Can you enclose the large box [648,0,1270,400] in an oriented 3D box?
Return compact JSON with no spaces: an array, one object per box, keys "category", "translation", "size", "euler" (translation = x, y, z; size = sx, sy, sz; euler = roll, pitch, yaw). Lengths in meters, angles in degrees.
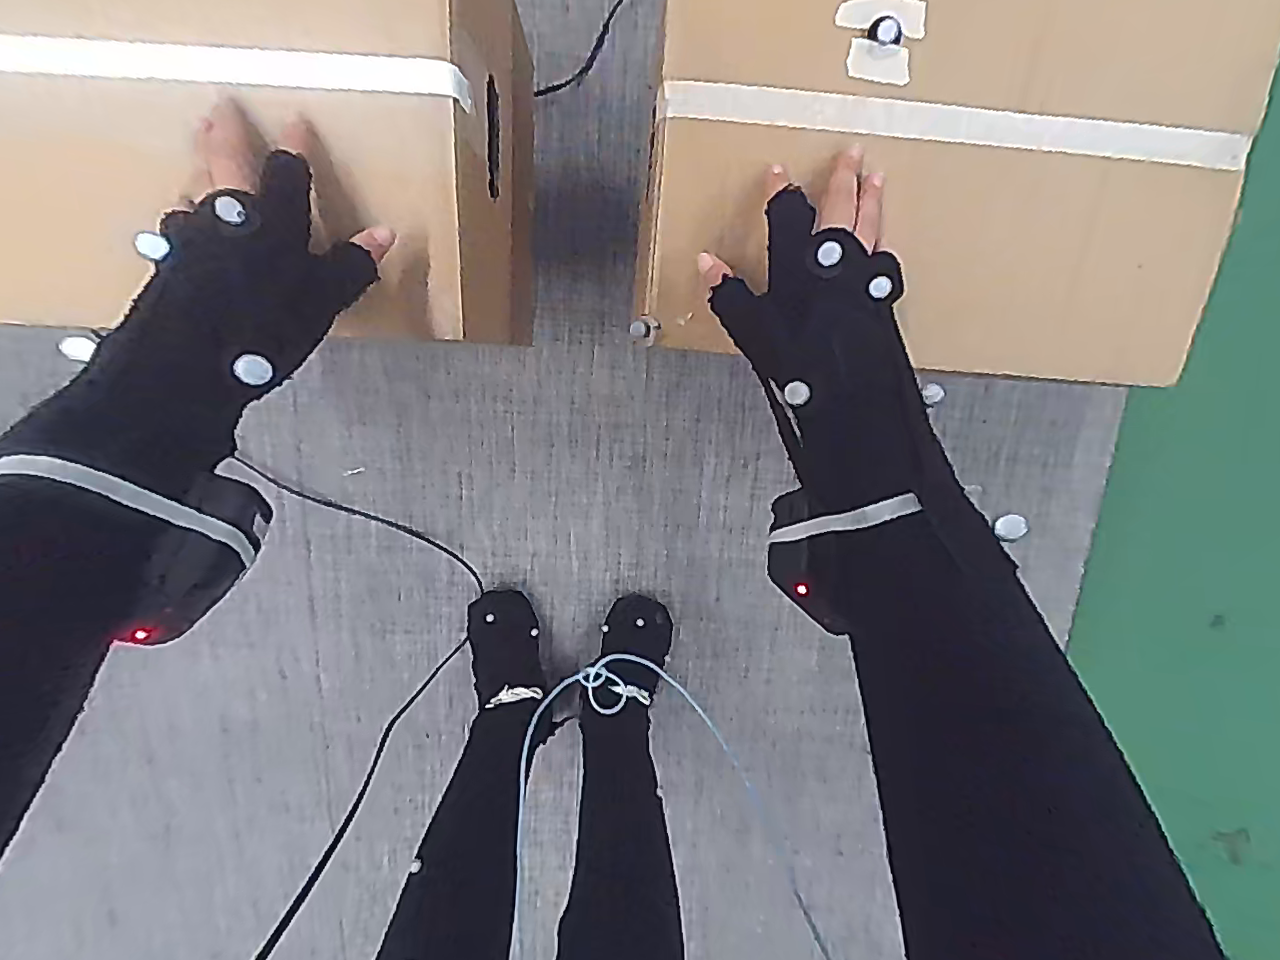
[{"category":"large box","translation":[0.223,-0.260,0.538],"size":[0.408,0.320,0.320],"euler":[4,102,-2]}]
